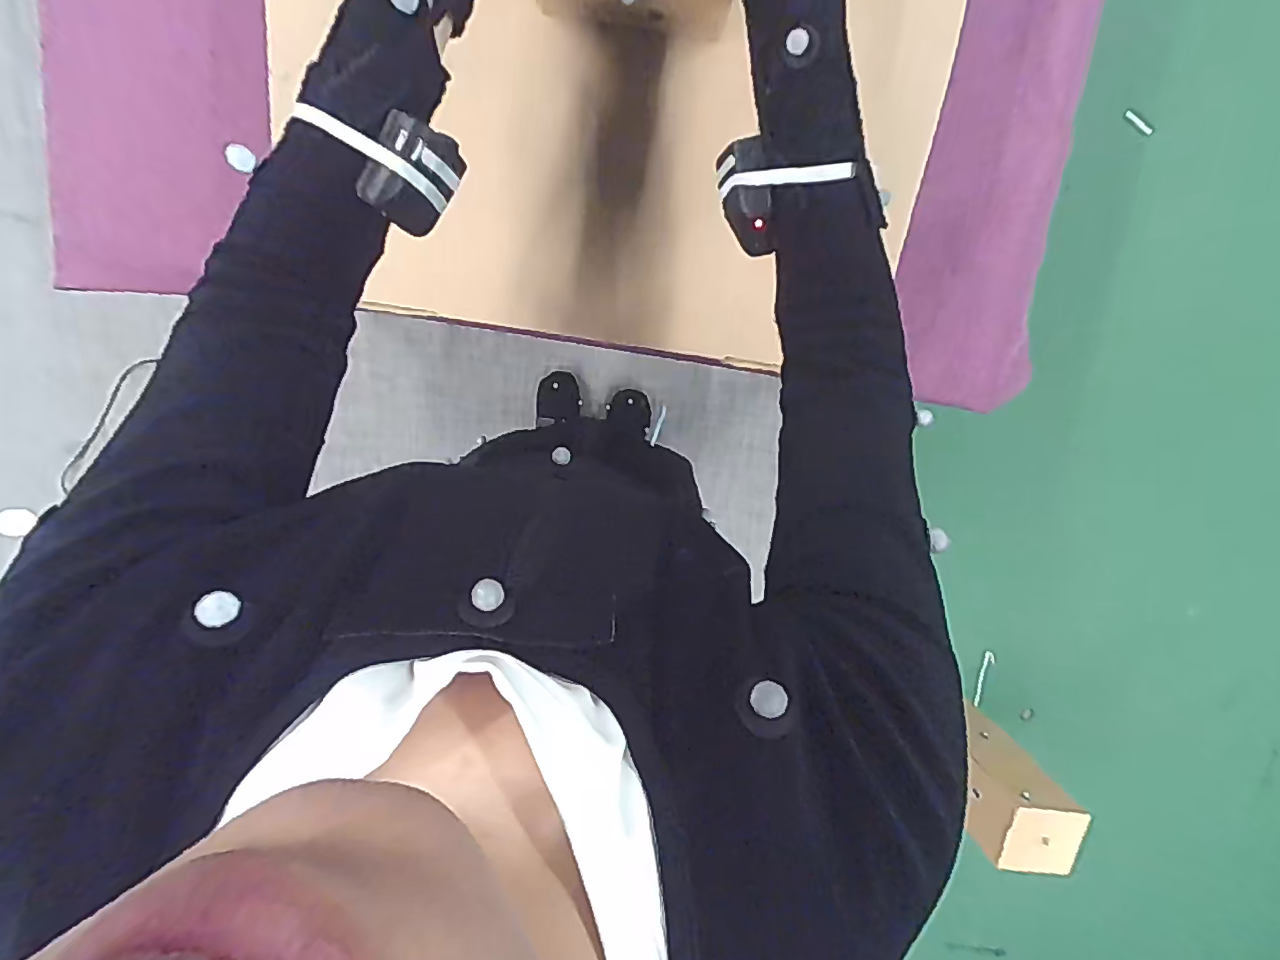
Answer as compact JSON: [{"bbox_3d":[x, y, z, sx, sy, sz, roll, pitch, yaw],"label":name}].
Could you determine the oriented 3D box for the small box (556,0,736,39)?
[{"bbox_3d":[0.012,-0.470,0.380,0.168,0.176,0.179,8,101,-4],"label":"small box"}]

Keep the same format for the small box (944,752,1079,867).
[{"bbox_3d":[0.872,0.776,1.285,0.179,0.176,0.168,8,102,-5],"label":"small box"}]
